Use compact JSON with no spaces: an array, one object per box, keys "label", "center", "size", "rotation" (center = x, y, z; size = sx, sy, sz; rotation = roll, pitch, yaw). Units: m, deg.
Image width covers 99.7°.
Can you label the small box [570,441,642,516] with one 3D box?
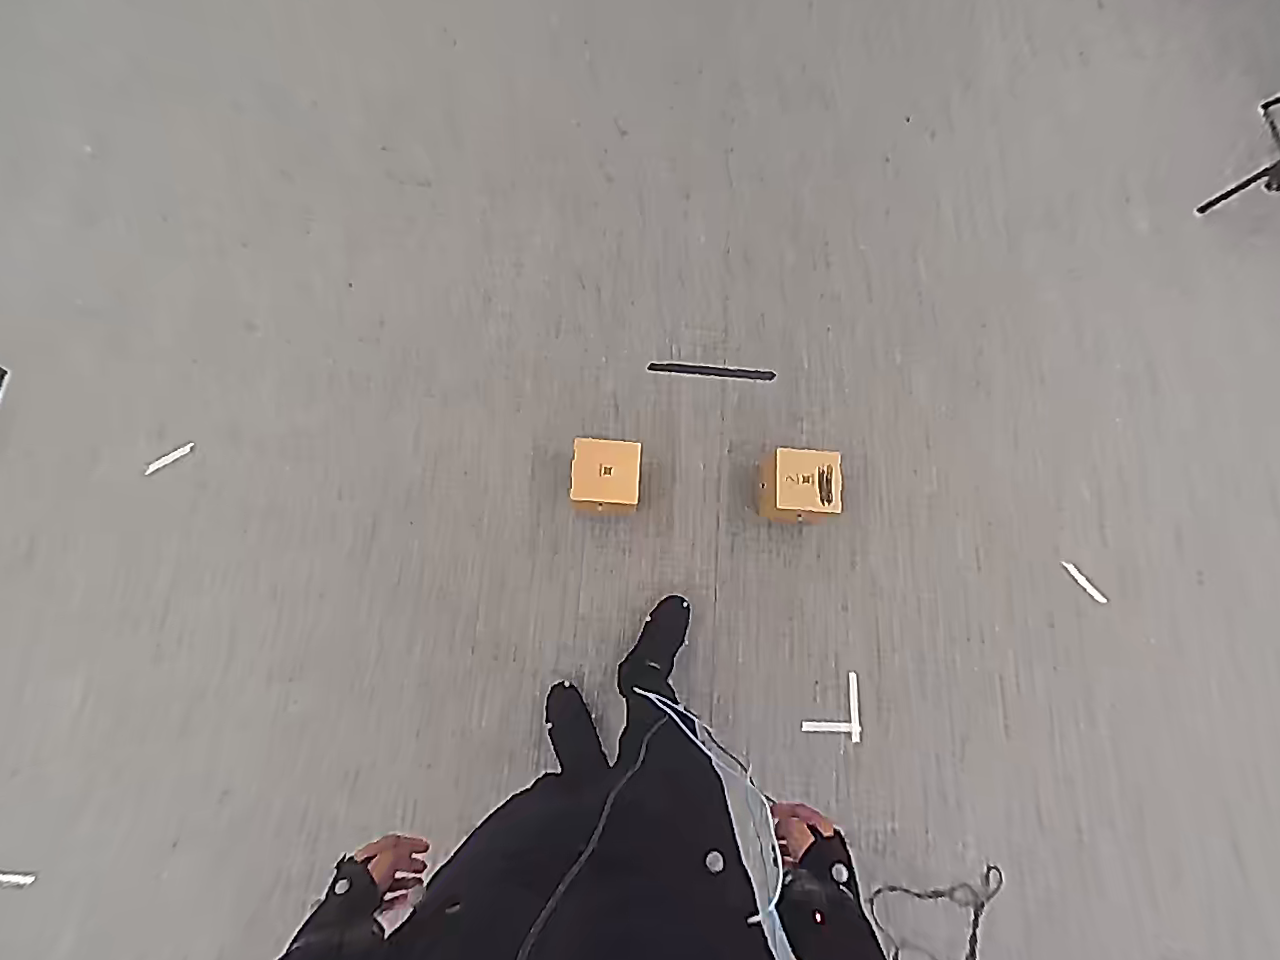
[{"label":"small box","center":[-0.091,0.001,1.470],"size":[0.179,0.176,0.168],"rotation":[4,77,-2]}]
